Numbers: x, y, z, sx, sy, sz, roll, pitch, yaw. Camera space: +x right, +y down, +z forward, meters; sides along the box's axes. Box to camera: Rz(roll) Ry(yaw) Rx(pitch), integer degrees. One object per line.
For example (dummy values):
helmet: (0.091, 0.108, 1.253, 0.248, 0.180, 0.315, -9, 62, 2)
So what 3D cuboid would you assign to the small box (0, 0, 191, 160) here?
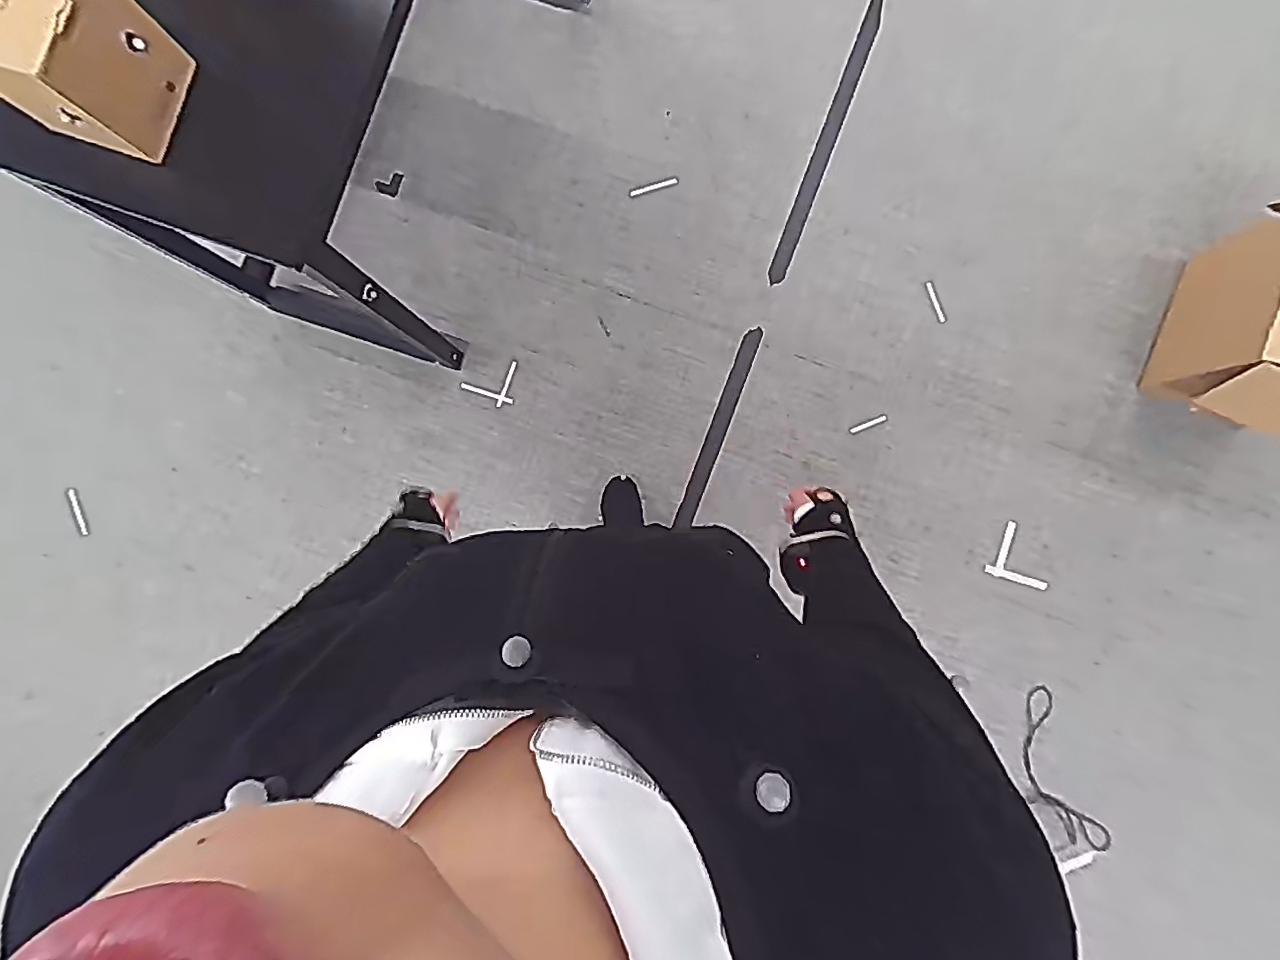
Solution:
small box: (-0.769, -0.571, 0.728, 0.179, 0.176, 0.168, 17, 87, 2)
